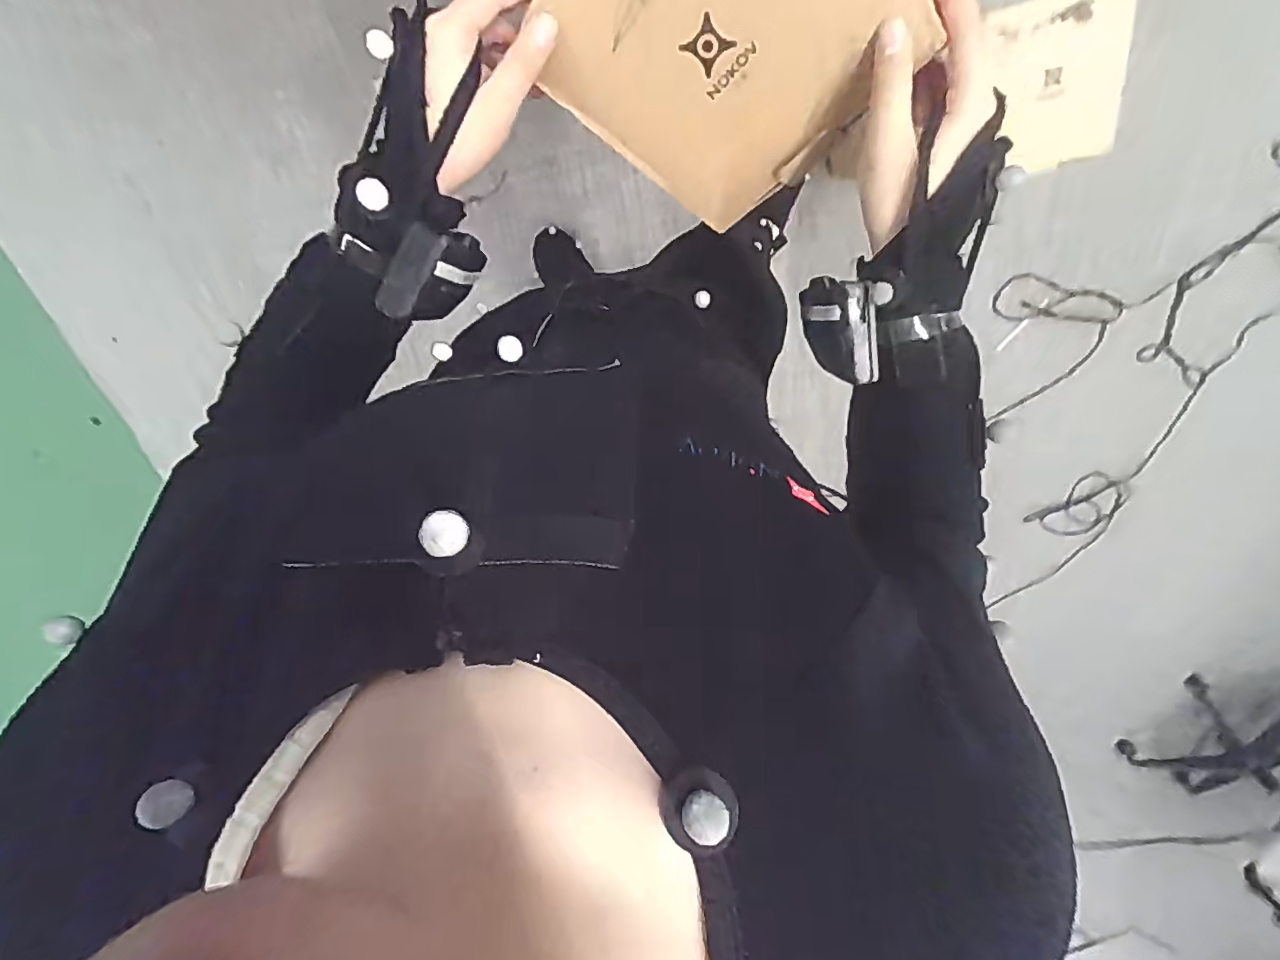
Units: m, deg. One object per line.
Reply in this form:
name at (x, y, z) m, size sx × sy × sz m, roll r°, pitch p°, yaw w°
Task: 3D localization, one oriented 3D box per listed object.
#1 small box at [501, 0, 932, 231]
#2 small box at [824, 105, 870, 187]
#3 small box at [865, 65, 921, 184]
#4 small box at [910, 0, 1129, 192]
small box at (0.047, -0.303, 0.324) m, size 0.179 × 0.176 × 0.168 m, roll 25°, pitch 151°, yaw -29°
small box at (0.453, -0.656, 0.998) m, size 0.179 × 0.176 × 0.168 m, roll -13°, pitch 118°, yaw 6°
small box at (0.468, -0.577, 0.855) m, size 0.179 × 0.176 × 0.168 m, roll -13°, pitch 119°, yaw 5°
small box at (0.476, -0.498, 0.712) m, size 0.168 × 0.176 × 0.179 m, roll -12°, pitch 120°, yaw 5°
